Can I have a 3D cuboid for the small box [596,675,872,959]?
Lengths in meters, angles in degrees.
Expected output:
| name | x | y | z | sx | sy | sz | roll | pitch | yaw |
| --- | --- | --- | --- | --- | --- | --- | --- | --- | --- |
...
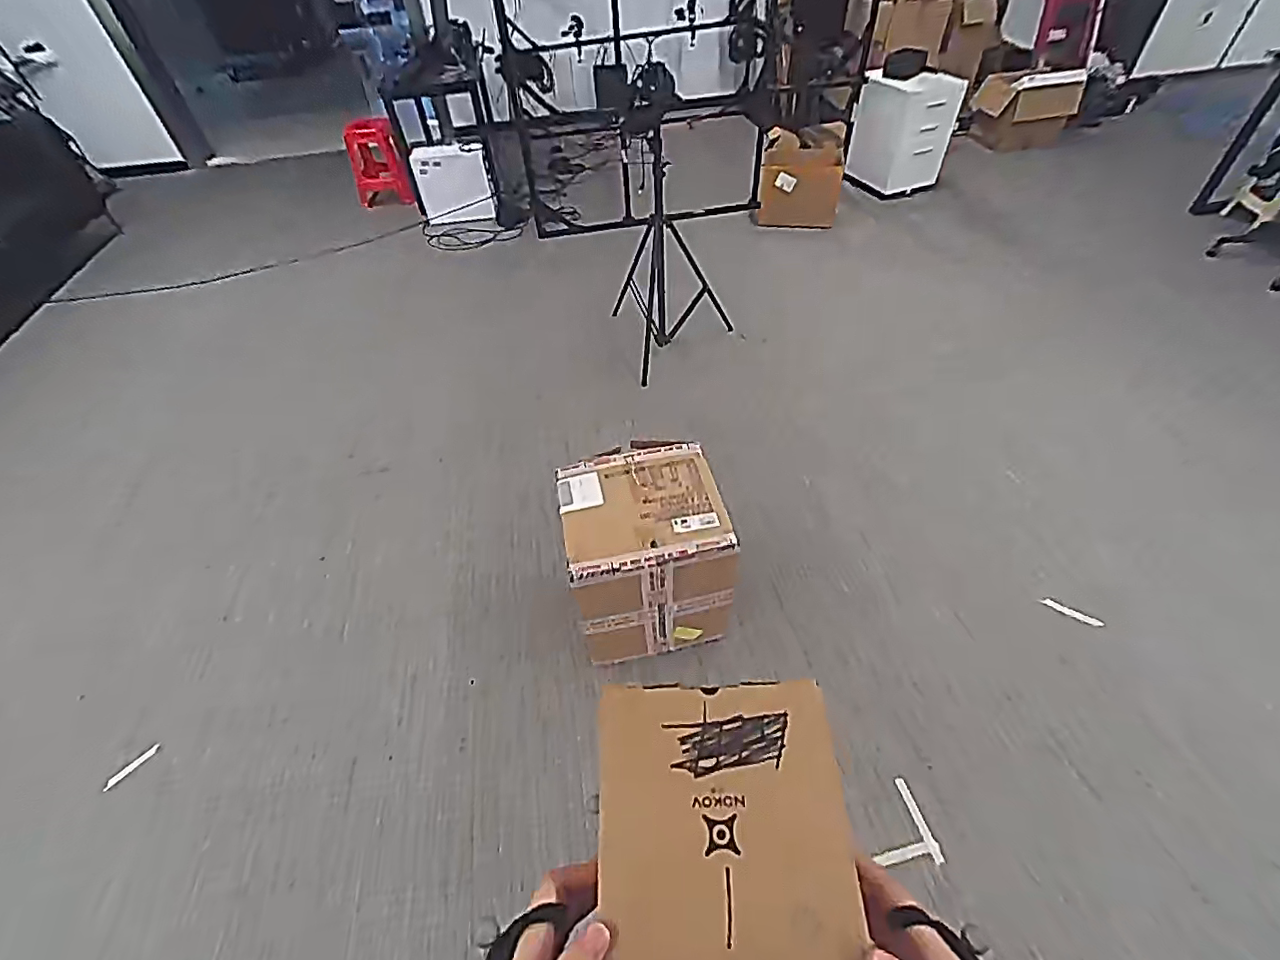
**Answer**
| name | x | y | z | sx | sy | sz | roll | pitch | yaw |
| --- | --- | --- | --- | --- | --- | --- | --- | --- | --- |
| small box | 0.057 | 0.266 | 0.428 | 0.168 | 0.176 | 0.179 | -2 | 56 | 1 |
